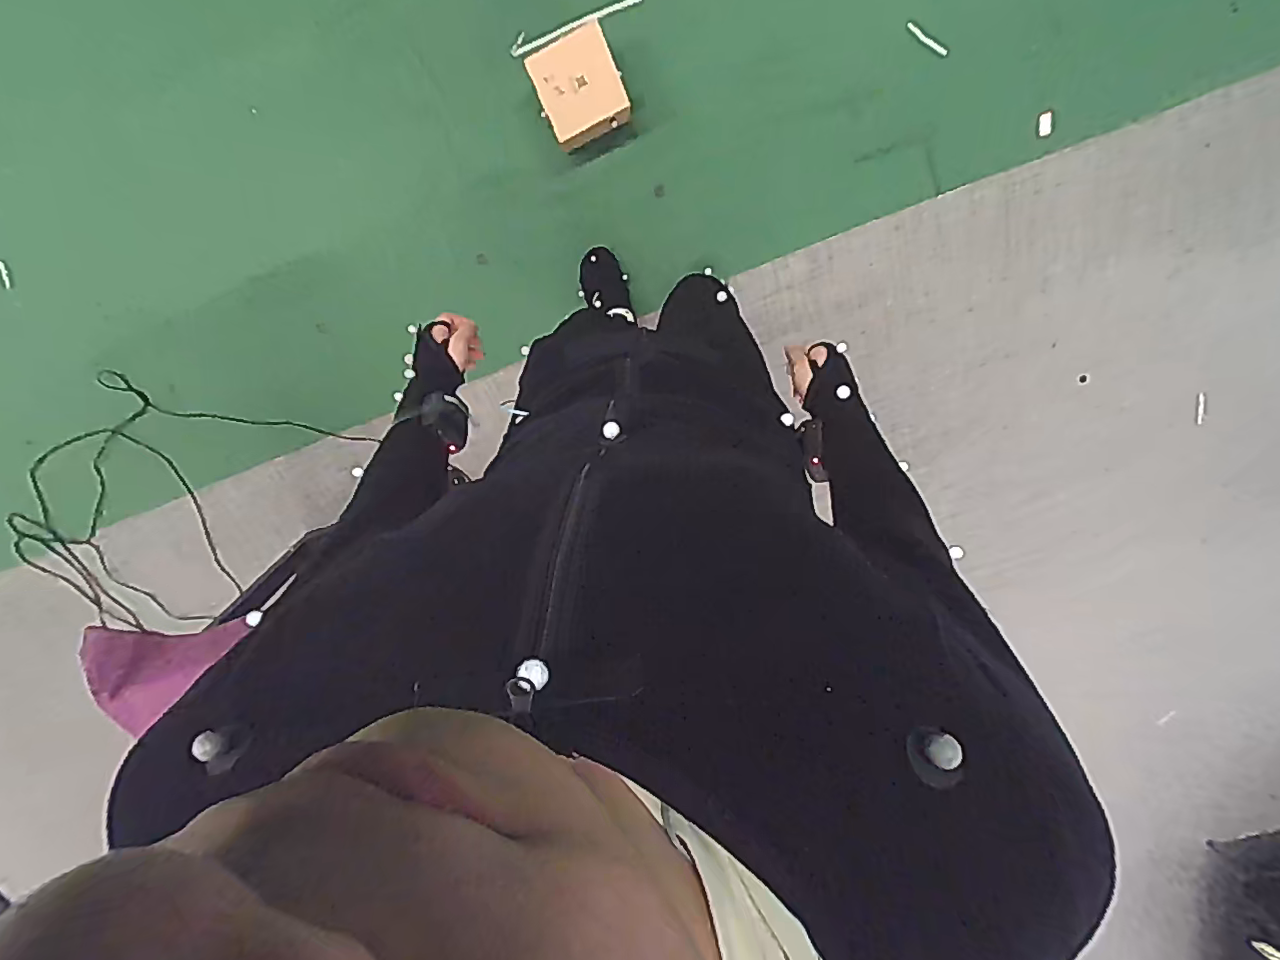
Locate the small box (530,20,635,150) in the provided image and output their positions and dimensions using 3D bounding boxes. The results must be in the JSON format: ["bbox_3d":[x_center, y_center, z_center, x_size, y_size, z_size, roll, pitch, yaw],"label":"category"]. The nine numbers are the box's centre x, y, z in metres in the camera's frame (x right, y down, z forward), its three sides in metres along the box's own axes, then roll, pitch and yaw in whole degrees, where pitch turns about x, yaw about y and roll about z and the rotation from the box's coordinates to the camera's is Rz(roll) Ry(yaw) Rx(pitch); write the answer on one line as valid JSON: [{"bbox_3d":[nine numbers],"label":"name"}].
[{"bbox_3d":[-0.125,-0.876,1.217,0.179,0.176,0.168,-23,113,9],"label":"small box"}]
